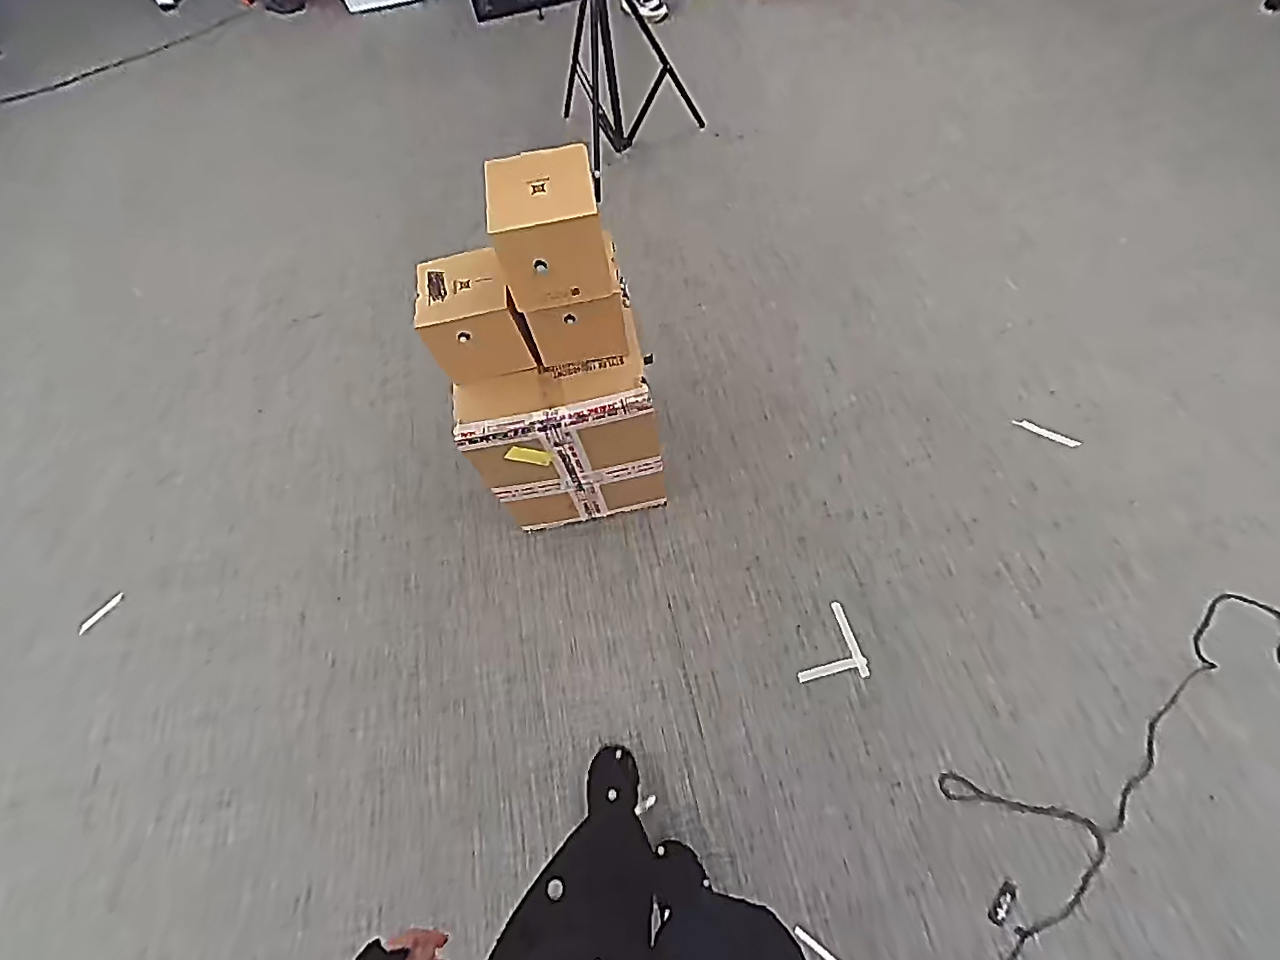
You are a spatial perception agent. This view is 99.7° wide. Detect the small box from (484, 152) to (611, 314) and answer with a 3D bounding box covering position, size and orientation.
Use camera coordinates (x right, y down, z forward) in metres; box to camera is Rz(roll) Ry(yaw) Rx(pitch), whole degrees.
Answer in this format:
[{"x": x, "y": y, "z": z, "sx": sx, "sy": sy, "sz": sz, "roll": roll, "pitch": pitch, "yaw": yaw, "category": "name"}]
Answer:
[{"x": -0.148, "y": -0.397, "z": 0.896, "sx": 0.168, "sy": 0.176, "sz": 0.179, "roll": -11, "pitch": 62, "yaw": 0, "category": "small box"}]
